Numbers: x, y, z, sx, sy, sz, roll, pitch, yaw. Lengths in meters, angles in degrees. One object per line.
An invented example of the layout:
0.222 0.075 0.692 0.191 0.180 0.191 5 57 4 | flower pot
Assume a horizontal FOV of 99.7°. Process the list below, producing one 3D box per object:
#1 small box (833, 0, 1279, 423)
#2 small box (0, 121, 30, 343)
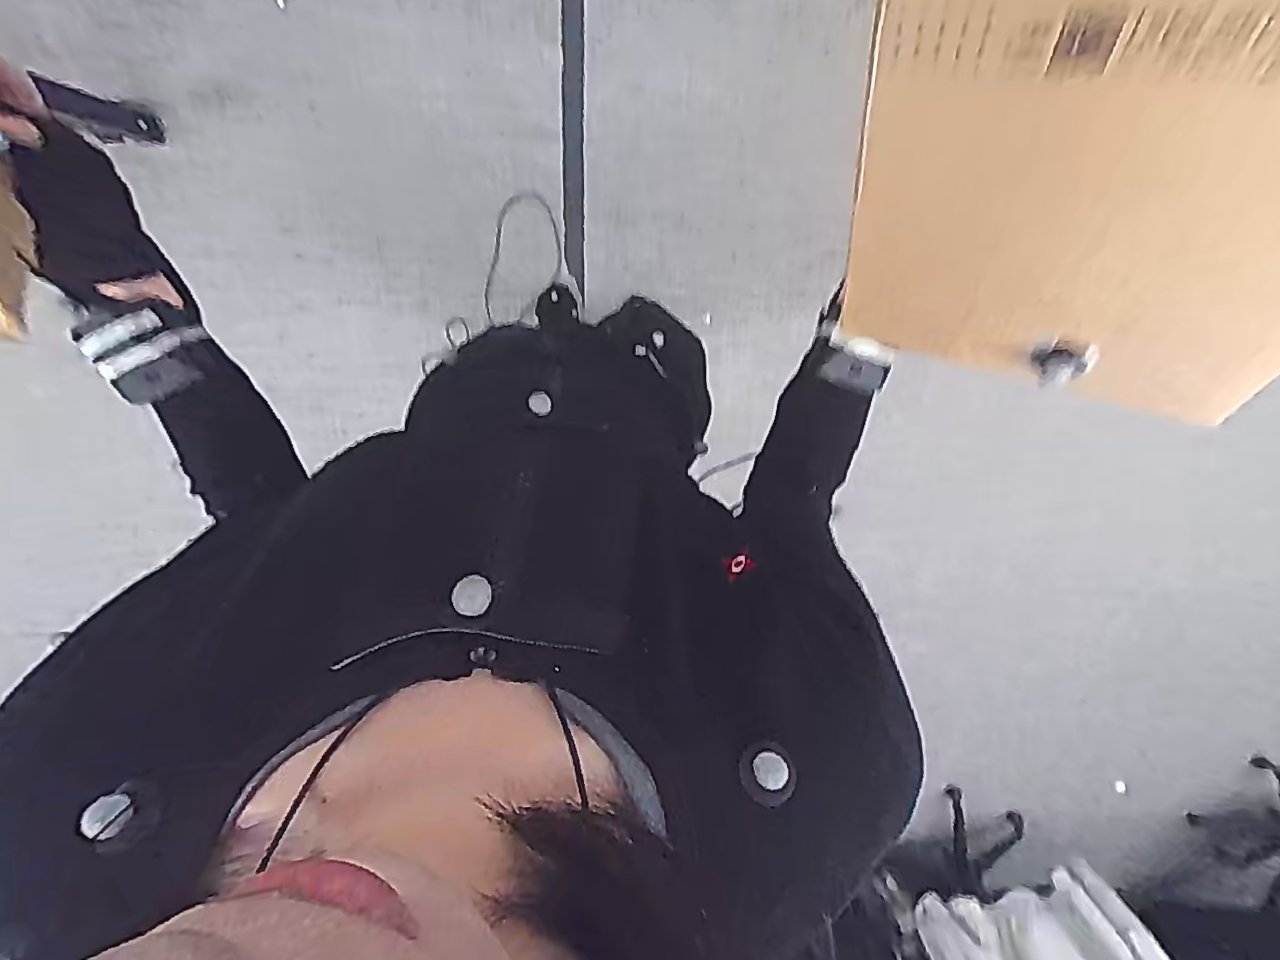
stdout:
0.197 -0.158 0.222 0.179 0.168 0.176 -58 153 -17 | small box
-0.374 -0.162 0.188 0.179 0.168 0.176 -14 148 -36 | small box
